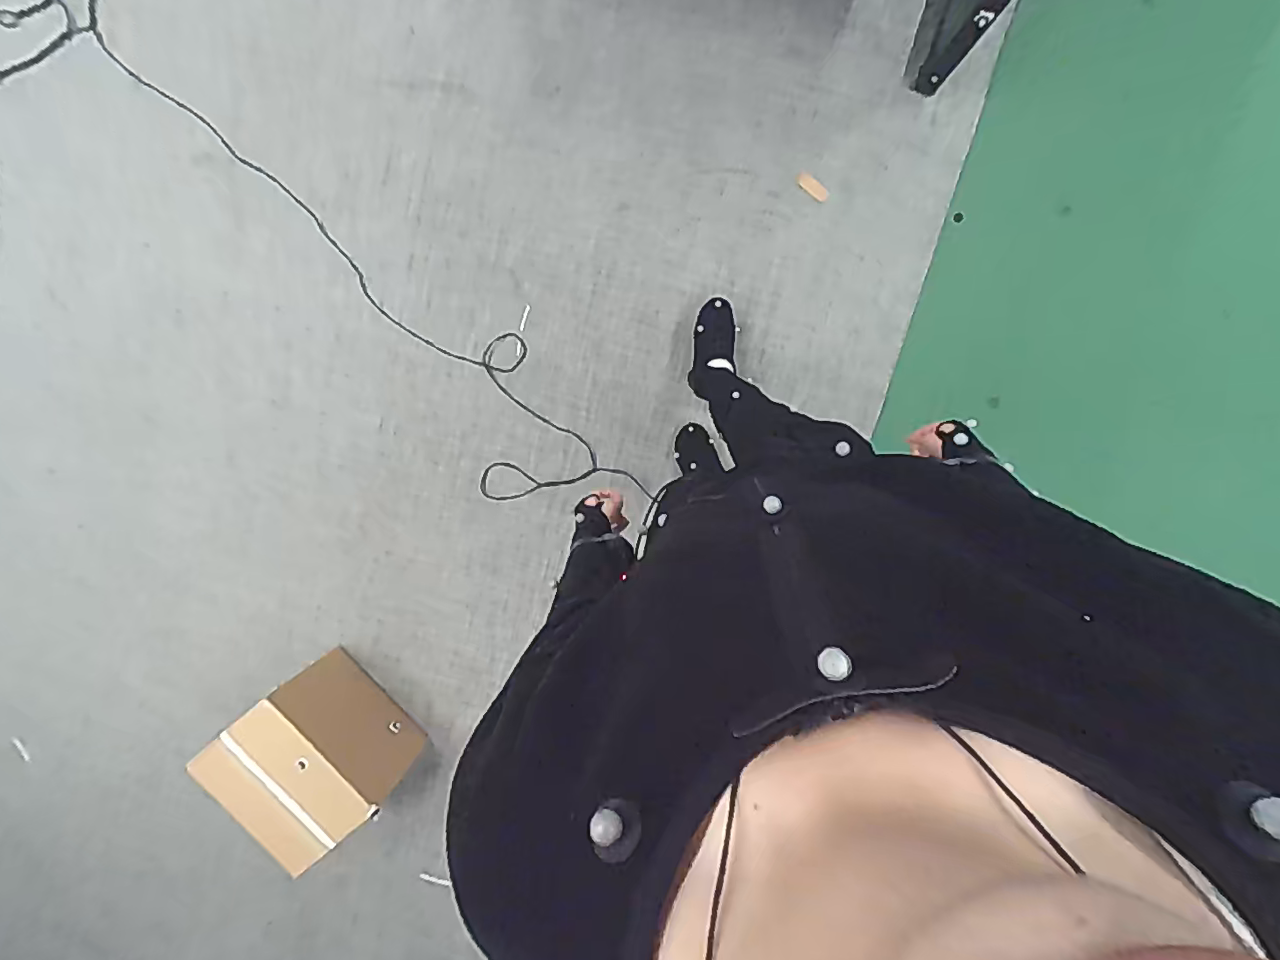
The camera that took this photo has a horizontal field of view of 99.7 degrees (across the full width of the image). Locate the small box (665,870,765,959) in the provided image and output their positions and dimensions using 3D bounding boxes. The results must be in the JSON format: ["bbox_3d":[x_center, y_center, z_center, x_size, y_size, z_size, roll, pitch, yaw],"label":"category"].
[{"bbox_3d":[0.138,0.915,1.061,0.168,0.176,0.179,7,97,3],"label":"small box"}]

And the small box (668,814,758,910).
[{"bbox_3d":[0.159,0.891,1.222,0.179,0.176,0.168,5,96,3],"label":"small box"}]
